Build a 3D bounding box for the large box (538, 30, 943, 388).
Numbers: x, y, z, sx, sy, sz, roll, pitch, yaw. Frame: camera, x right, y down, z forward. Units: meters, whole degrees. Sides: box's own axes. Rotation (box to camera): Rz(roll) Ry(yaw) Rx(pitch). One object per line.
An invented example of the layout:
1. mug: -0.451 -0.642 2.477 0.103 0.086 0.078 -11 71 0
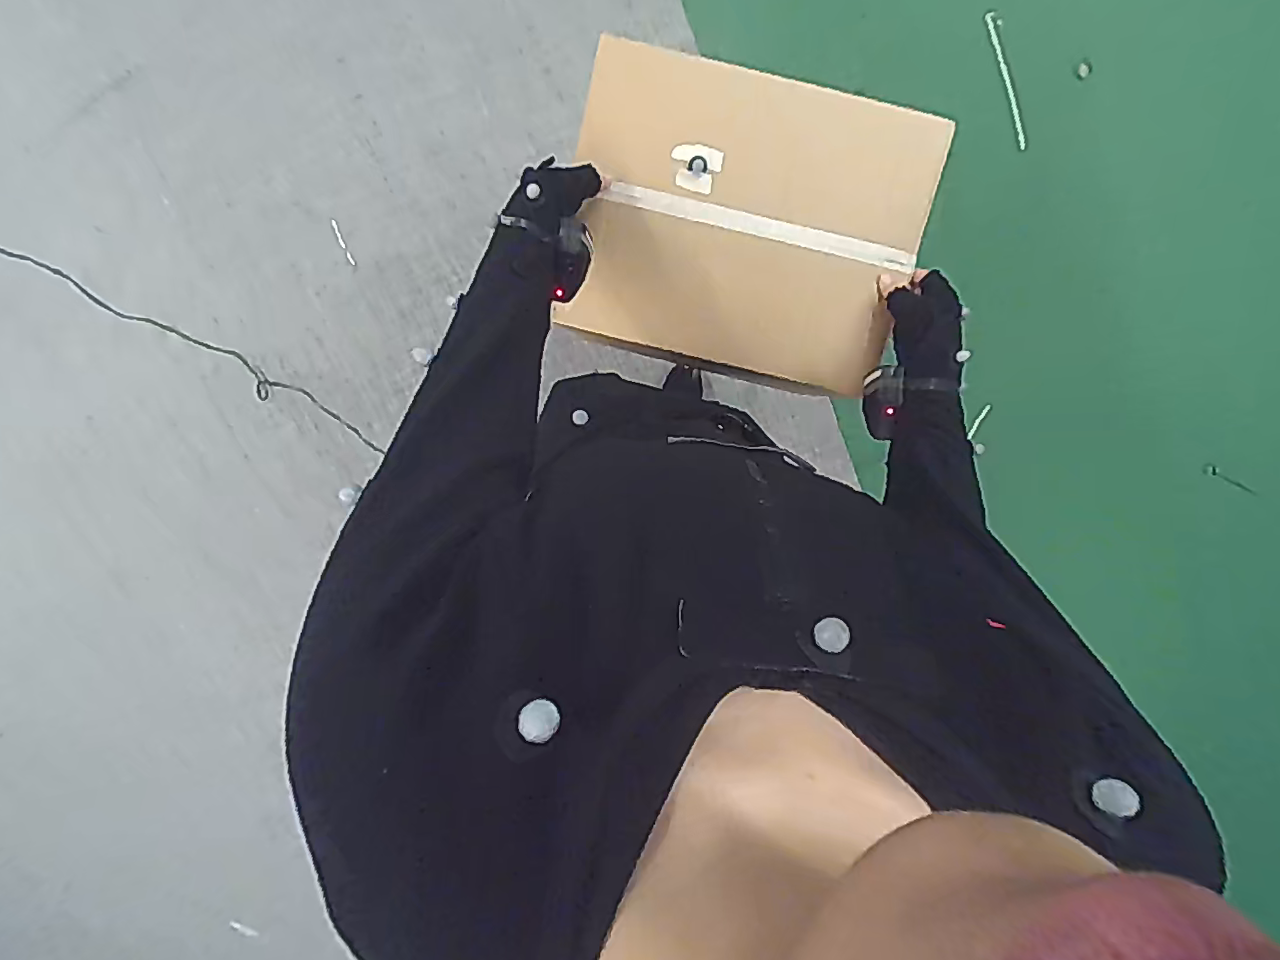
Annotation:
1. large box: 0.113 -0.329 0.760 0.408 0.320 0.320 14 102 0
